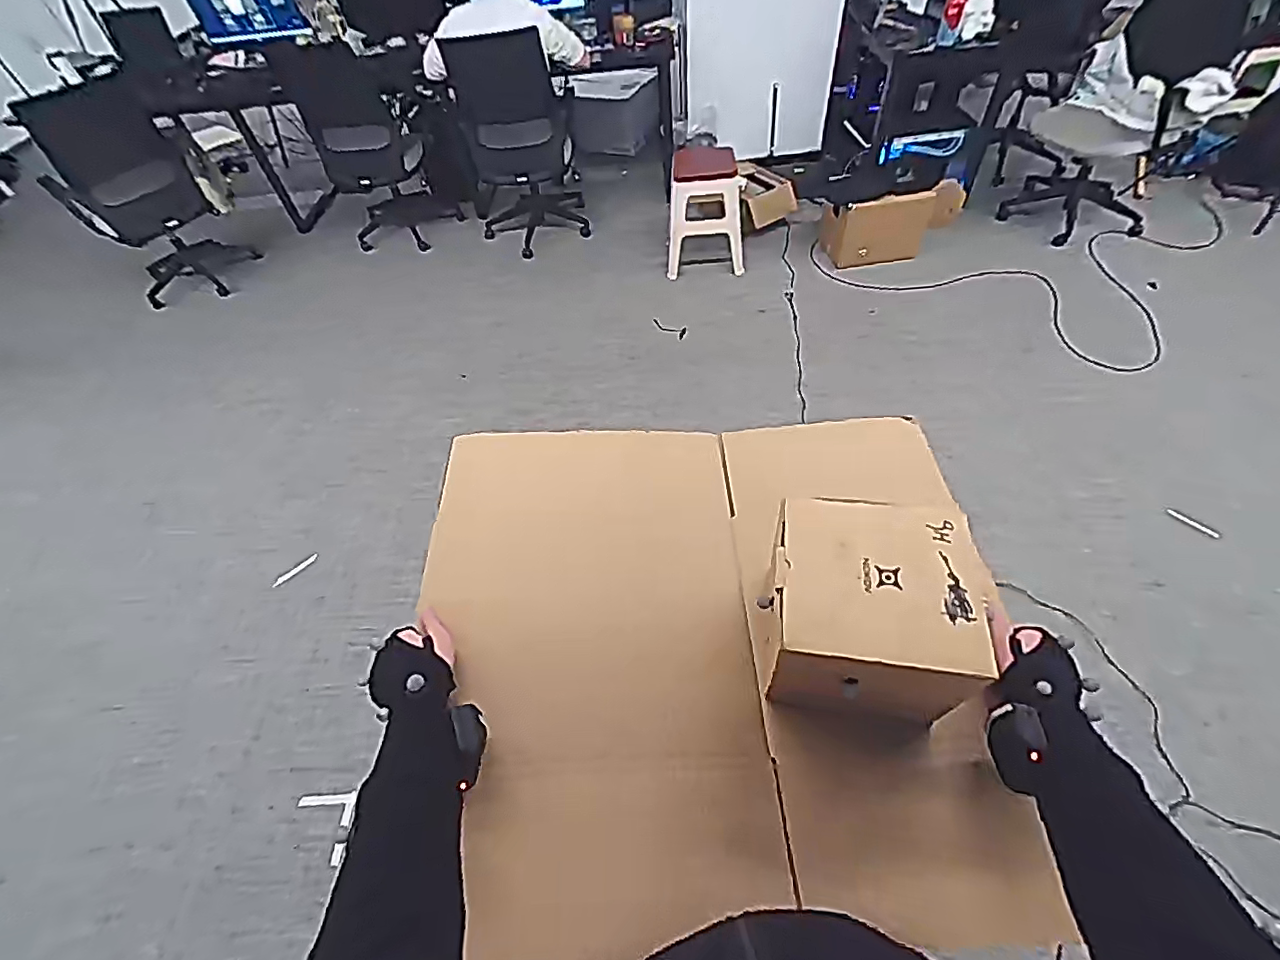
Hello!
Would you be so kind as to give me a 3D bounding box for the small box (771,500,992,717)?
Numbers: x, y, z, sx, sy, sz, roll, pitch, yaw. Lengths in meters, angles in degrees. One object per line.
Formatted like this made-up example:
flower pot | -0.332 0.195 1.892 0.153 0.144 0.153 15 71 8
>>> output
small box | 0.234 0.139 0.574 0.179 0.176 0.168 4 55 12
